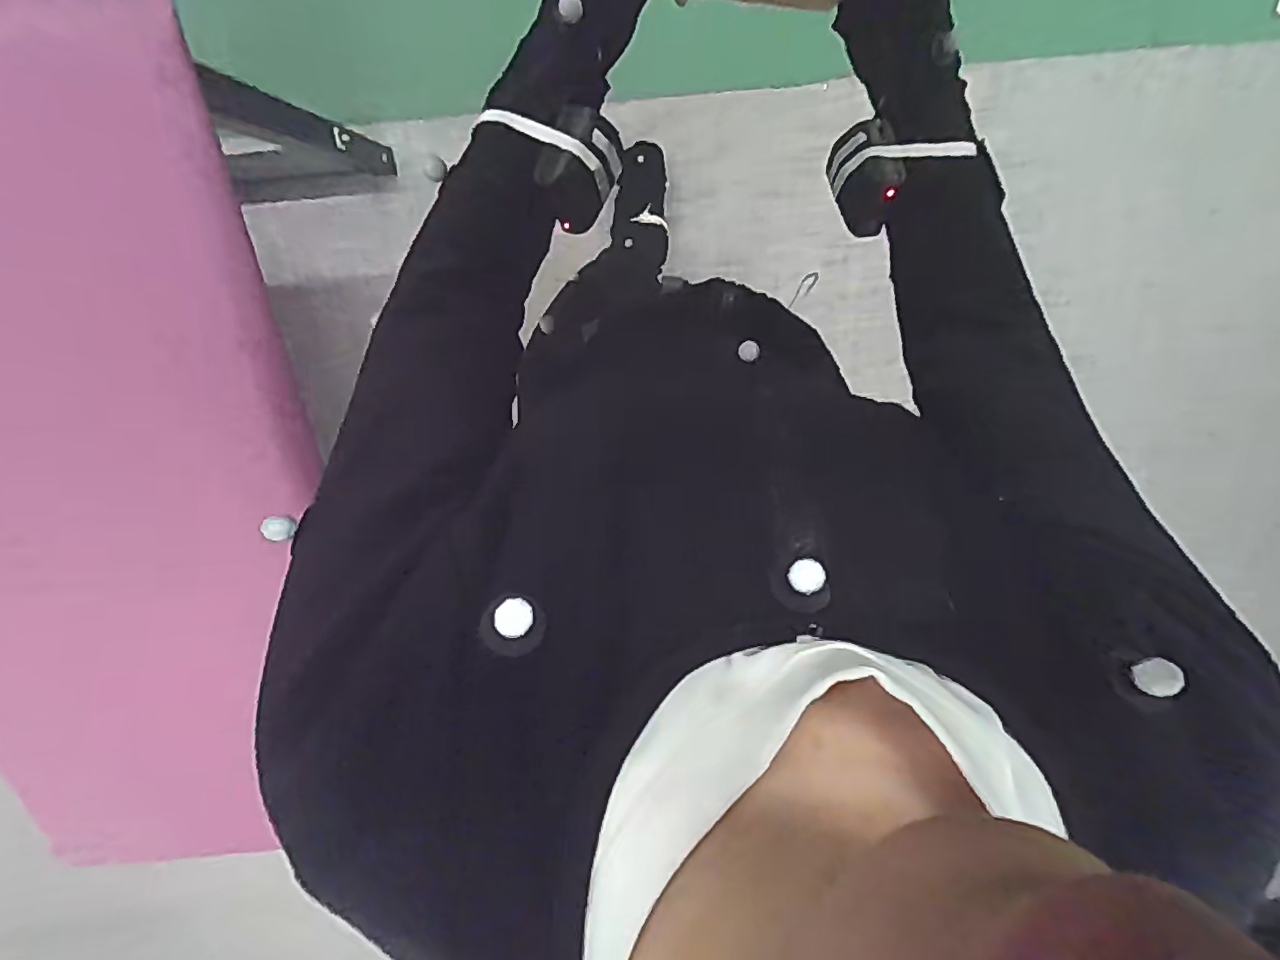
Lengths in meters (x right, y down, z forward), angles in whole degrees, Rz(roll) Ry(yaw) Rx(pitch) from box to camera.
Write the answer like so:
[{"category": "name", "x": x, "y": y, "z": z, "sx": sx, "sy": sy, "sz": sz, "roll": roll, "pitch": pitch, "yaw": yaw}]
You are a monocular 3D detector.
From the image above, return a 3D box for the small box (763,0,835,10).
[{"category": "small box", "x": 0.098, "y": -0.455, "z": 0.362, "sx": 0.168, "sy": 0.176, "sz": 0.179, "roll": 4, "pitch": 116, "yaw": -4}]
